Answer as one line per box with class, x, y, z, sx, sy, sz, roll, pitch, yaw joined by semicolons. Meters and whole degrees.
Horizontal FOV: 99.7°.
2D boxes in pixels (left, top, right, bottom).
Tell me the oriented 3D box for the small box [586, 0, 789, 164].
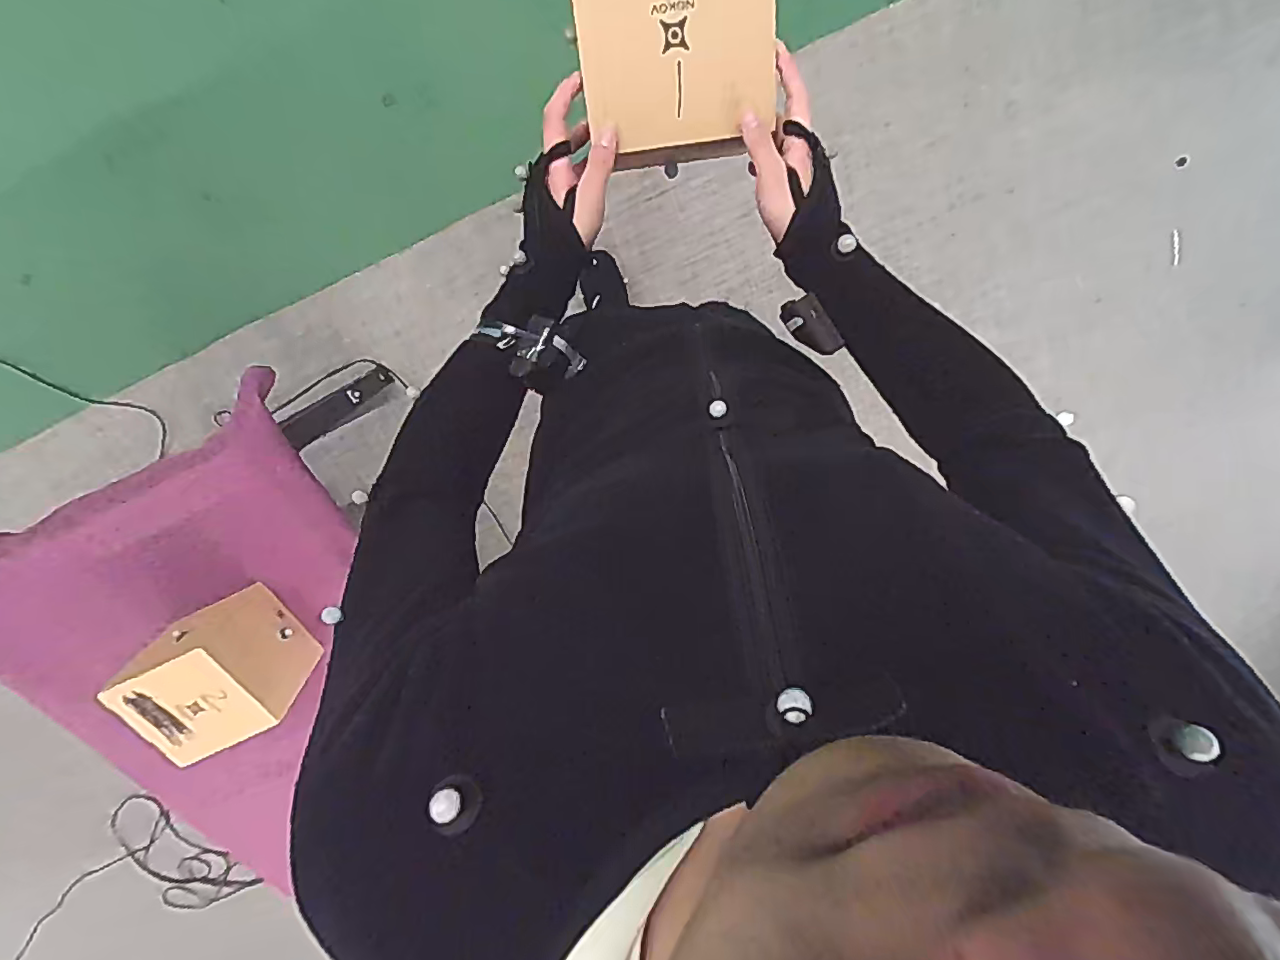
small box;0.037;-0.413;0.508;0.168;0.176;0.179;-6;116;3
